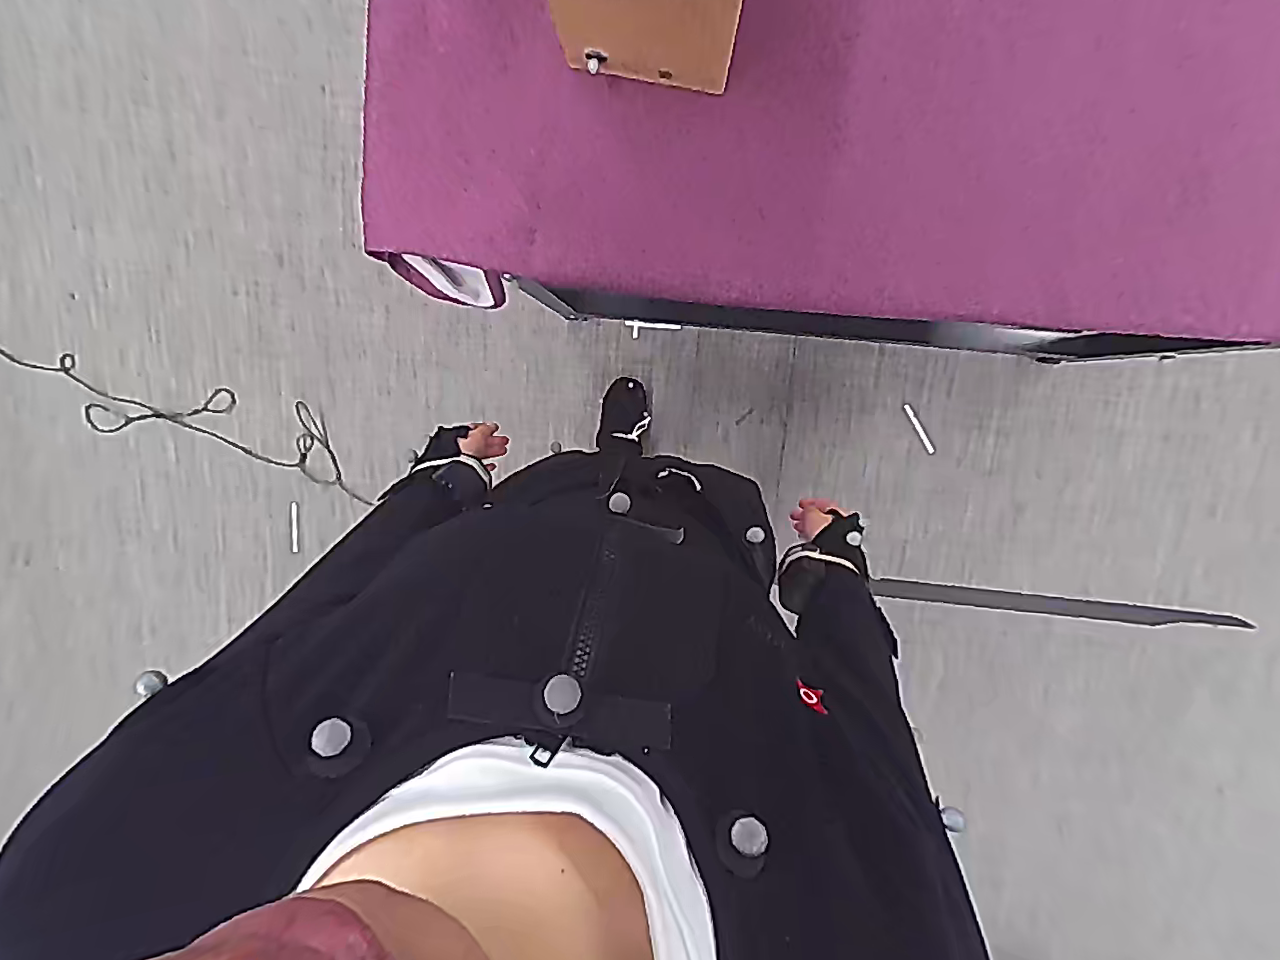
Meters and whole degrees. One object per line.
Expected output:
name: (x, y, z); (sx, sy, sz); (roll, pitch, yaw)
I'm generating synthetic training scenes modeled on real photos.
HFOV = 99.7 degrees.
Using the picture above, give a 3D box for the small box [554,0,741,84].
small box: (0.017, -0.489, 0.470); (0.168, 0.176, 0.179); (11, 100, 0)
